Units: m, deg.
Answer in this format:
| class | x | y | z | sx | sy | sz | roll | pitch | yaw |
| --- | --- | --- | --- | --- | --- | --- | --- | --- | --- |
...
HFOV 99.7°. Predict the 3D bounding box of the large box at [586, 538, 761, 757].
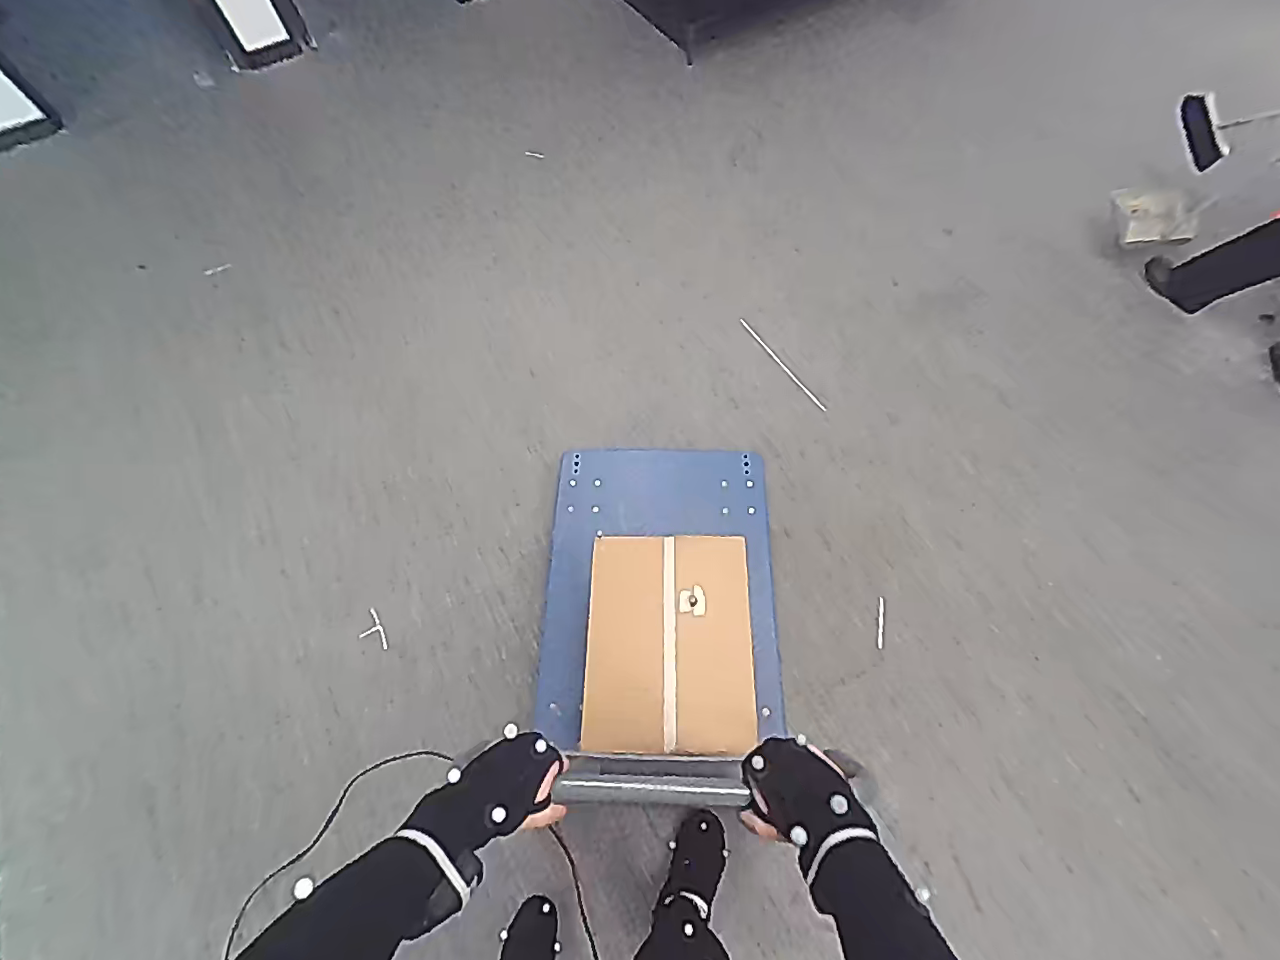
| class | x | y | z | sx | sy | sz | roll | pitch | yaw |
| --- | --- | --- | --- | --- | --- | --- | --- | --- | --- |
| large box | 0.066 | 0.368 | 1.163 | 0.320 | 0.320 | 0.408 | 0 | 62 | 2 |
